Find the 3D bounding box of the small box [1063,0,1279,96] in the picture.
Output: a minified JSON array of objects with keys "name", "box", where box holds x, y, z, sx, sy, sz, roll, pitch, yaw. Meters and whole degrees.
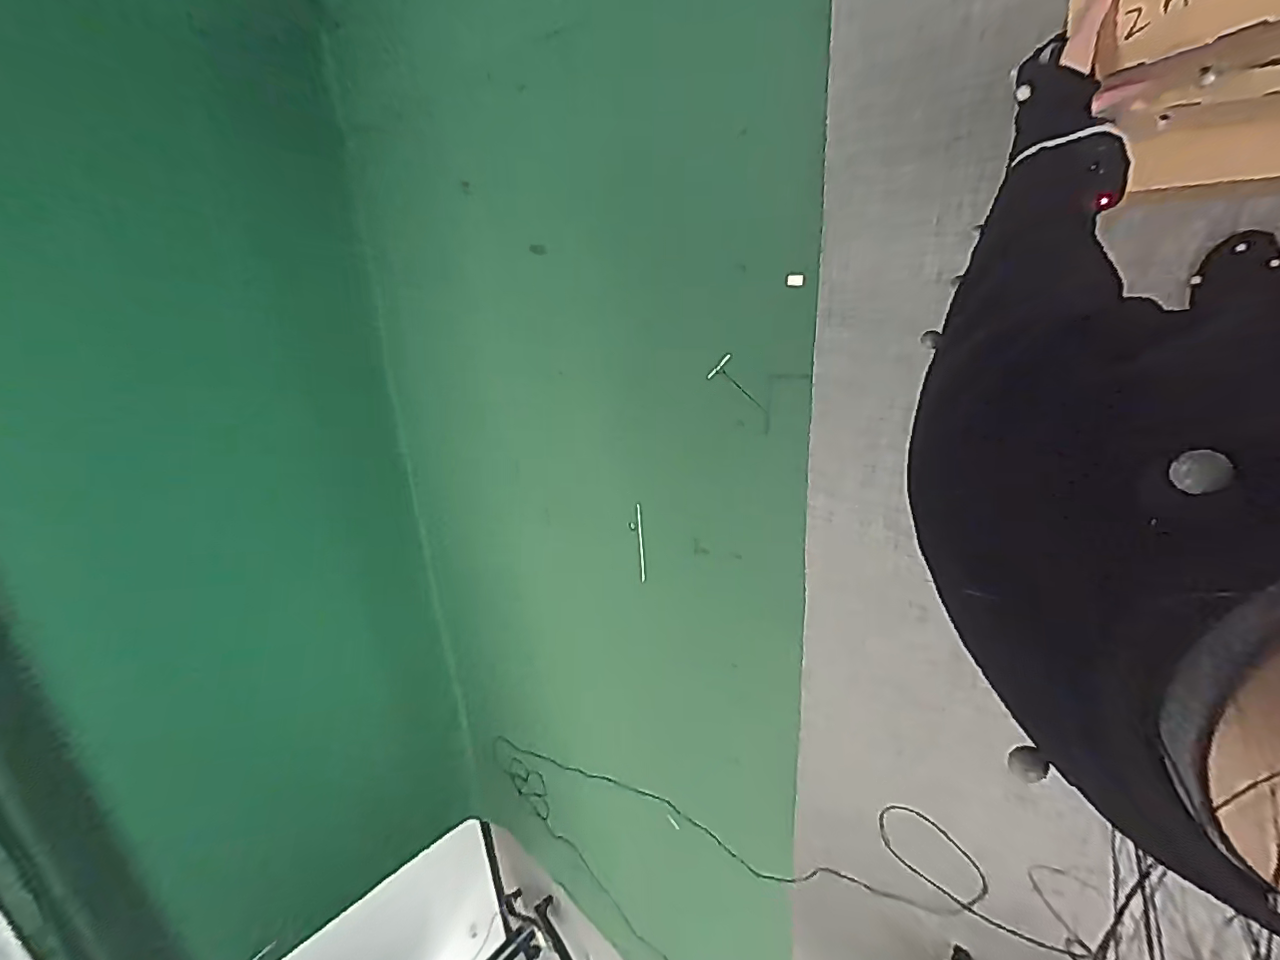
[{"name":"small box","box":[0.515,-0.474,0.482,0.168,0.176,0.179,17,122,55]}]
